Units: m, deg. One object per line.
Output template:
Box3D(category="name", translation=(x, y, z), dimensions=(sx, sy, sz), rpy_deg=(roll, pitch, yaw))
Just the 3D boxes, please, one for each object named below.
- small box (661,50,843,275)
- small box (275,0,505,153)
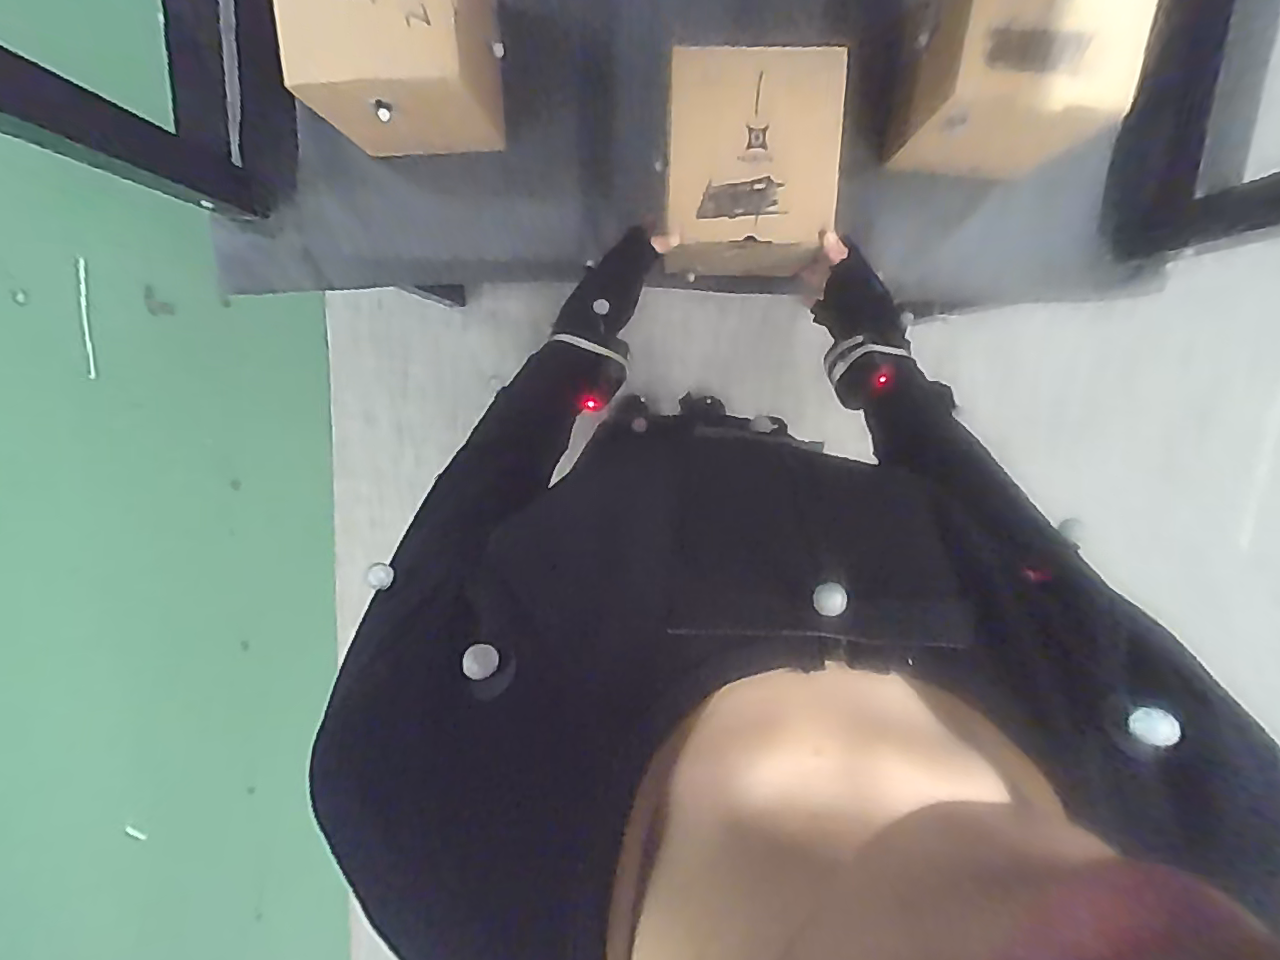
Box3D(category="small box", translation=(0.109, -0.334, 0.604), dimensions=(0.168, 0.176, 0.179), rpy_deg=(2, 100, 1))
Box3D(category="small box", translation=(-0.259, -0.478, 0.589), dimensions=(0.179, 0.176, 0.168), rpy_deg=(-1, 101, 1))
